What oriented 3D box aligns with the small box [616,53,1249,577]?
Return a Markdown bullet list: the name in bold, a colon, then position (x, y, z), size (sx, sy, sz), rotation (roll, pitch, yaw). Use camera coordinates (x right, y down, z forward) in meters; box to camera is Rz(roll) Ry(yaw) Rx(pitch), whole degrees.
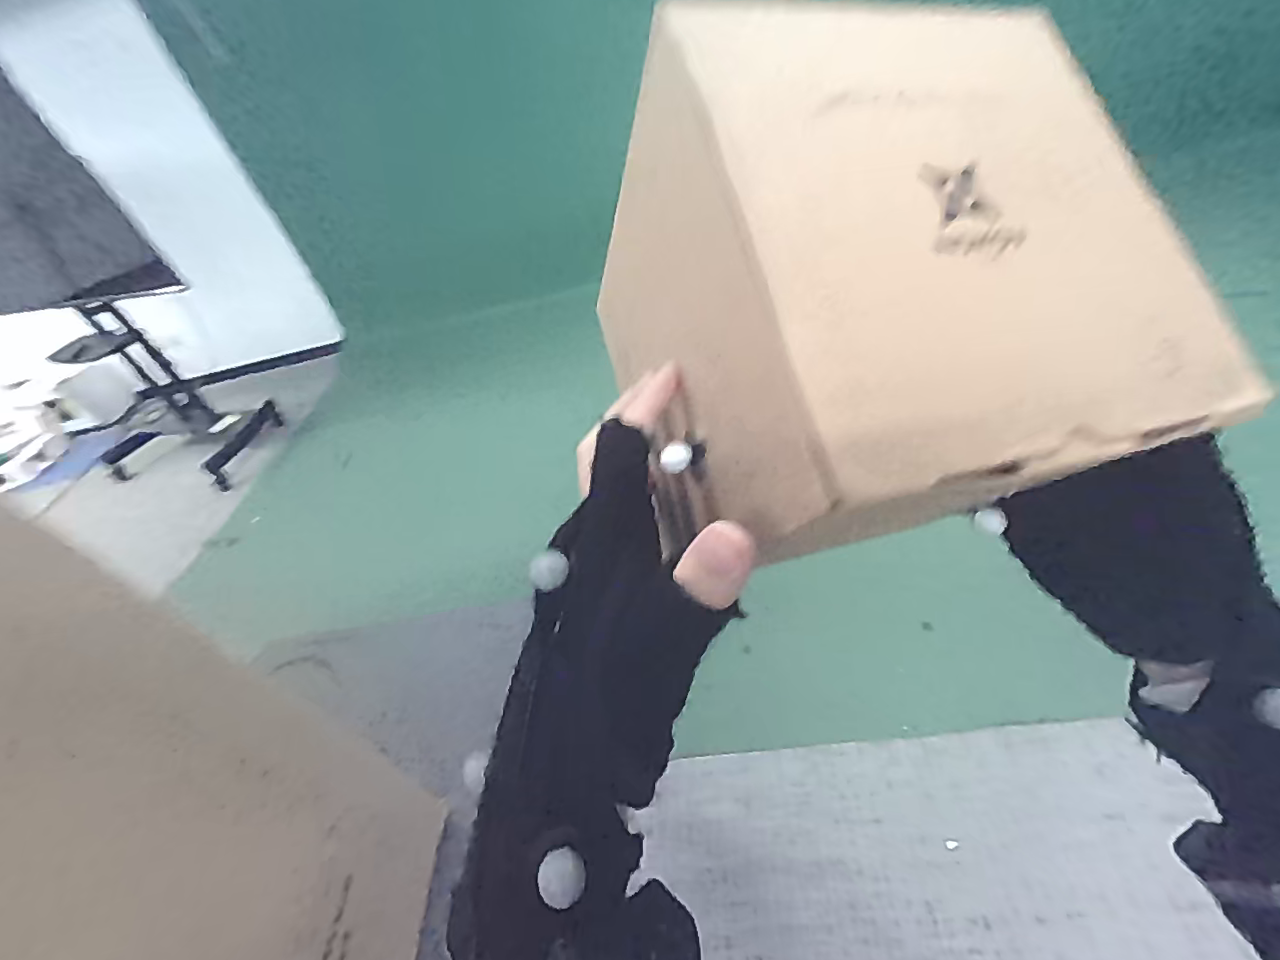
- **small box**: position (0.094, -0.057, 0.261), size (0.168, 0.176, 0.179), rotation (-11, 73, -15)
